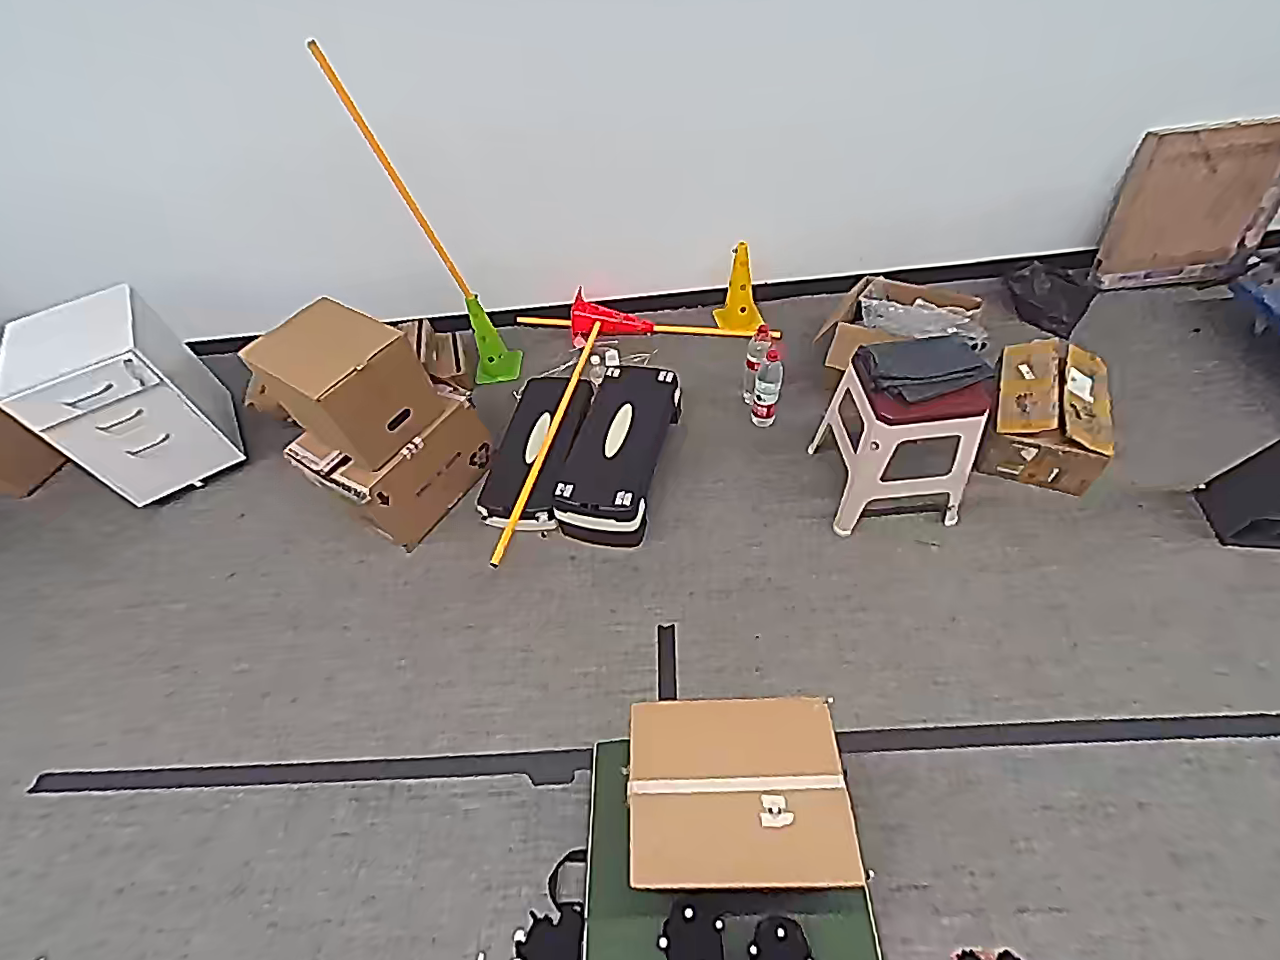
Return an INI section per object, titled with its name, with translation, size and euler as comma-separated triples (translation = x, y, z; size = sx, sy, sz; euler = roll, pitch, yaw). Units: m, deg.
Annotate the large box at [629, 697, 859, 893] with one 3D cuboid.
[large box]
translation = 0.190, 0.675, 1.150
size = 0.408, 0.320, 0.320
euler = -3, 52, 3
